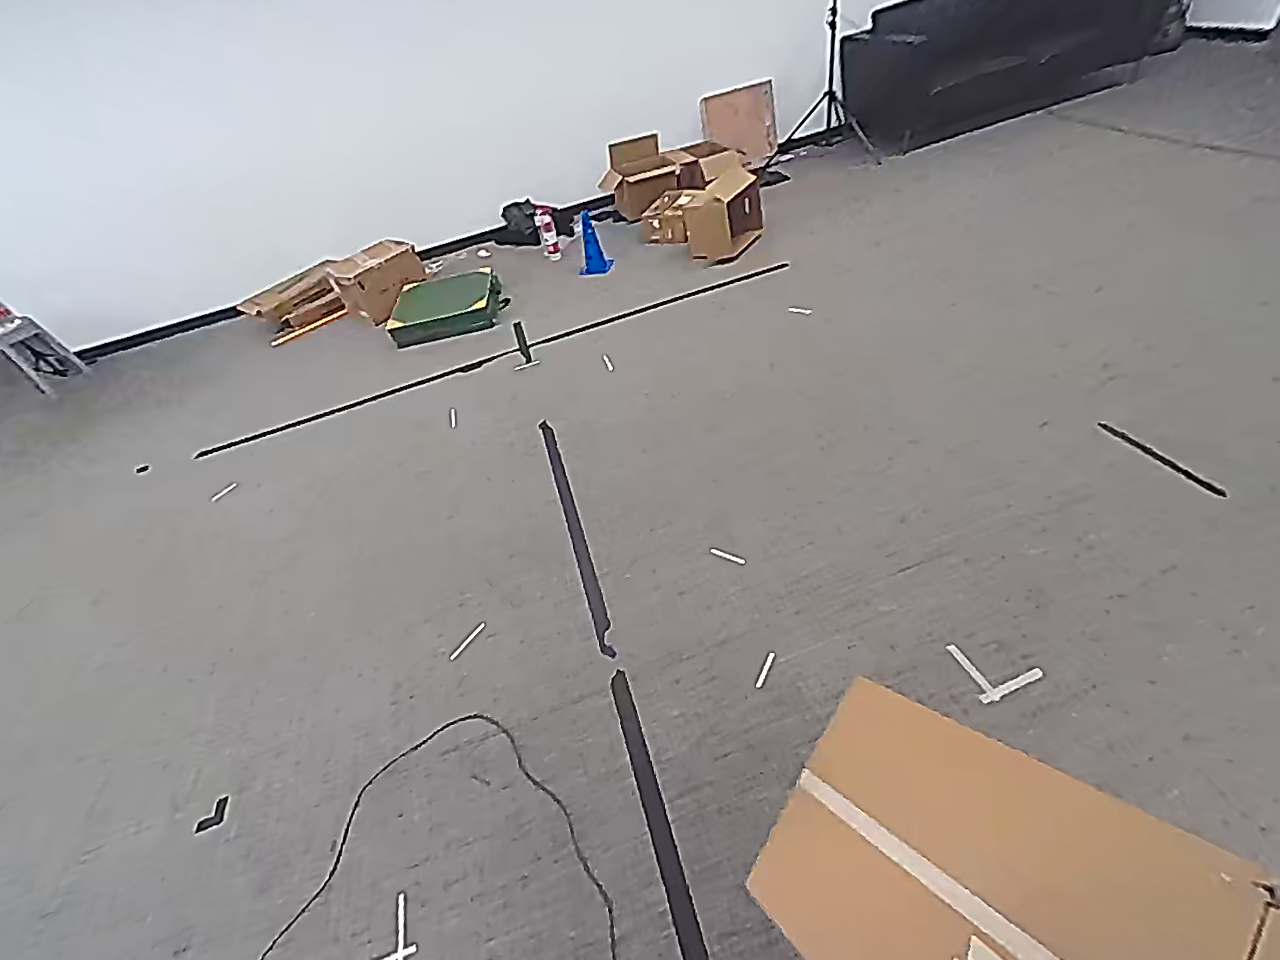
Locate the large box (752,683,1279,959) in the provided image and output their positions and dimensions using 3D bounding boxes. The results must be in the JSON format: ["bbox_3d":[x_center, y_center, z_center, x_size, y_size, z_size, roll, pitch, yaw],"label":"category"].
[{"bbox_3d":[0.416,0.498,0.606,0.320,0.320,0.408,-57,24,-13],"label":"large box"}]
